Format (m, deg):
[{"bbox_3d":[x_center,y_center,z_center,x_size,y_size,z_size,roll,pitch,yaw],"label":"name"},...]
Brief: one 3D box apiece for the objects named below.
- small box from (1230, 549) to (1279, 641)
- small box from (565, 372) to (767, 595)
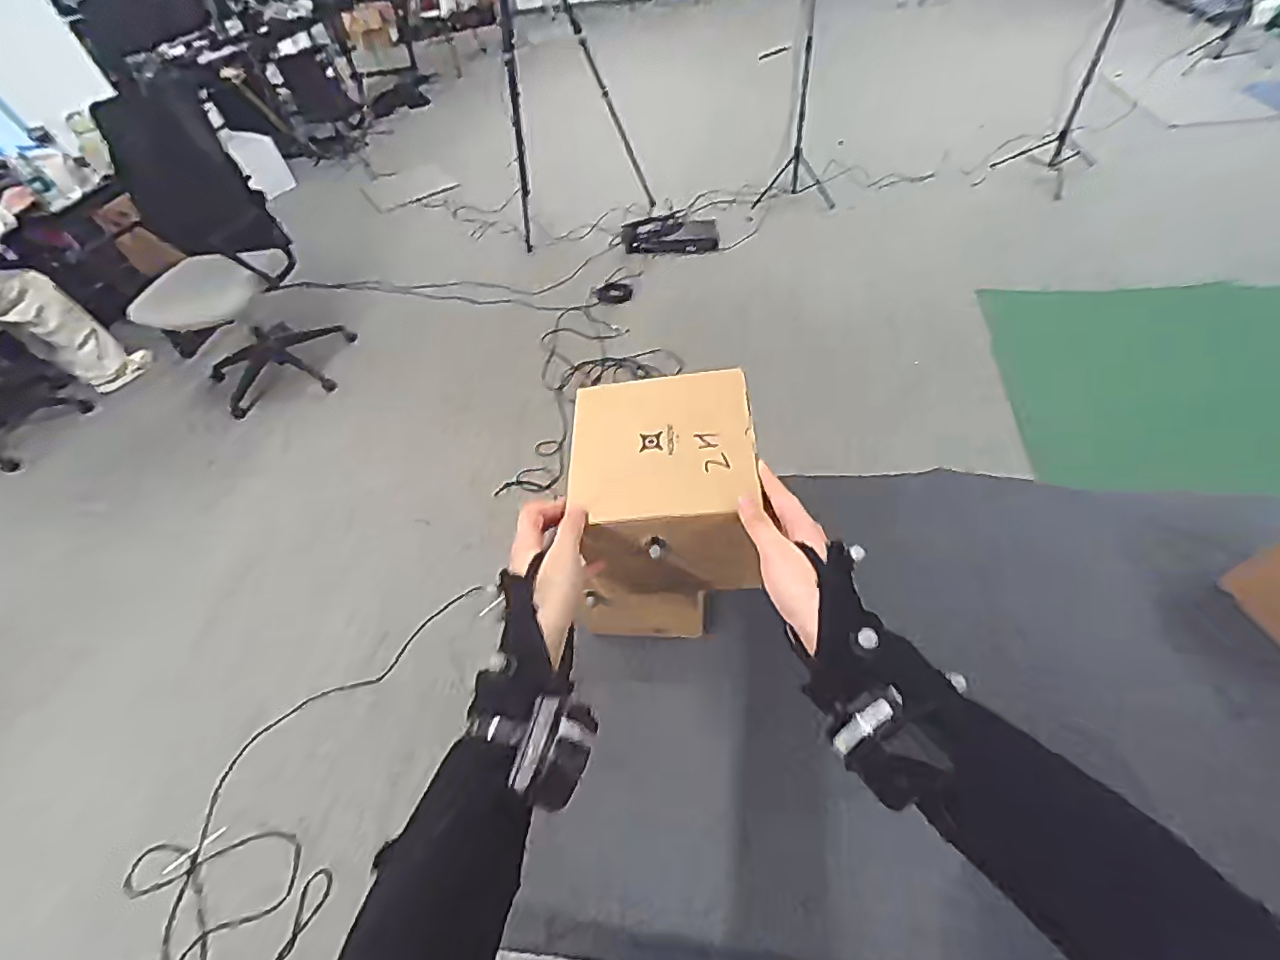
[{"bbox_3d":[0.855,0.137,0.605,0.168,0.176,0.179,-13,52,1],"label":"small box"},{"bbox_3d":[0.035,0.014,0.560,0.179,0.176,0.168,-5,58,8],"label":"small box"}]
